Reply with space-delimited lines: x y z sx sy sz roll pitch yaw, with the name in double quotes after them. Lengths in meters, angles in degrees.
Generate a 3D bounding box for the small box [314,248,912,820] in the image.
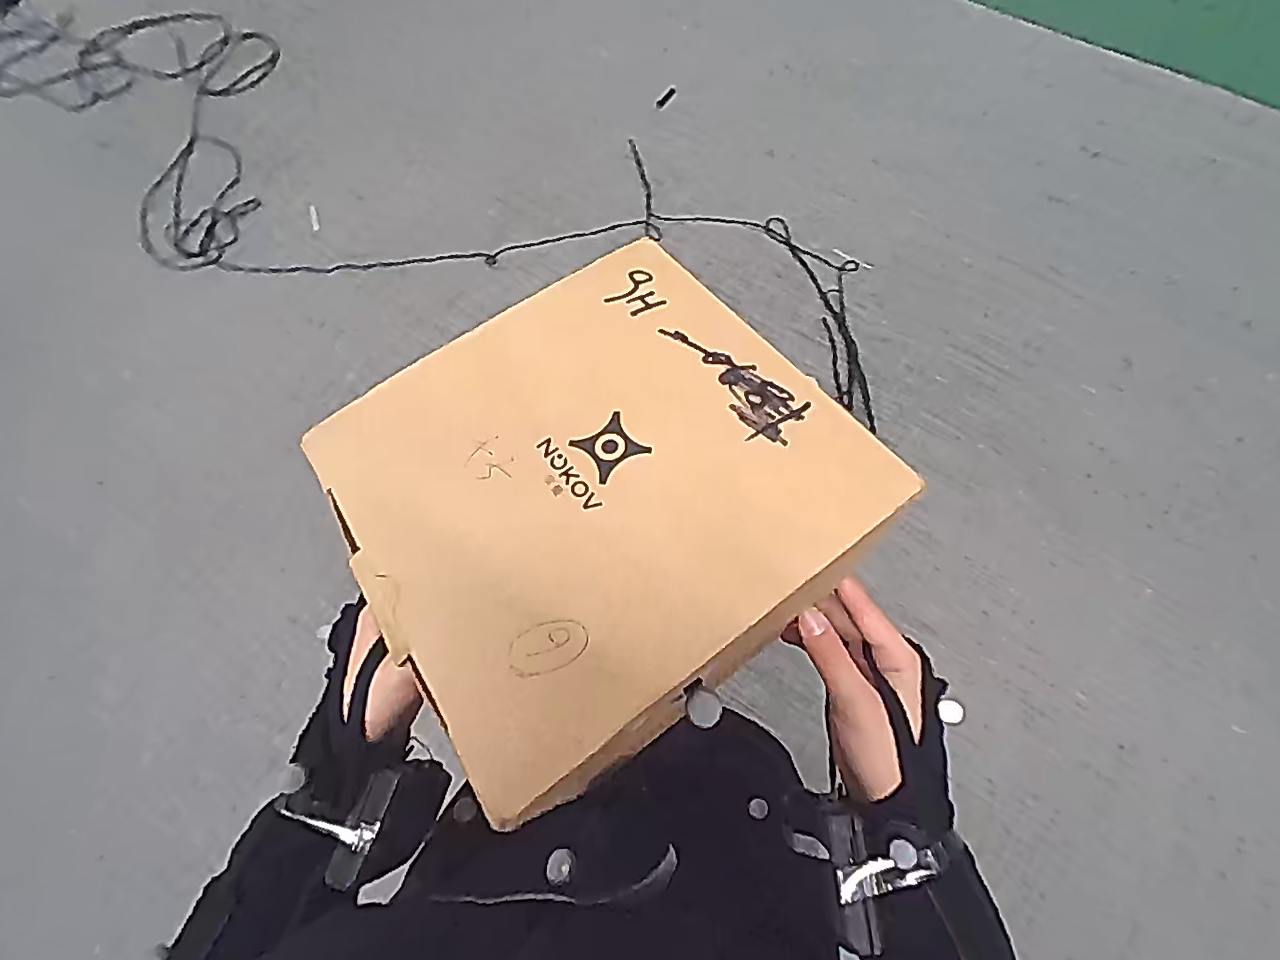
-0.011 0.031 0.273 0.179 0.176 0.168 -34 65 -11 "small box"
